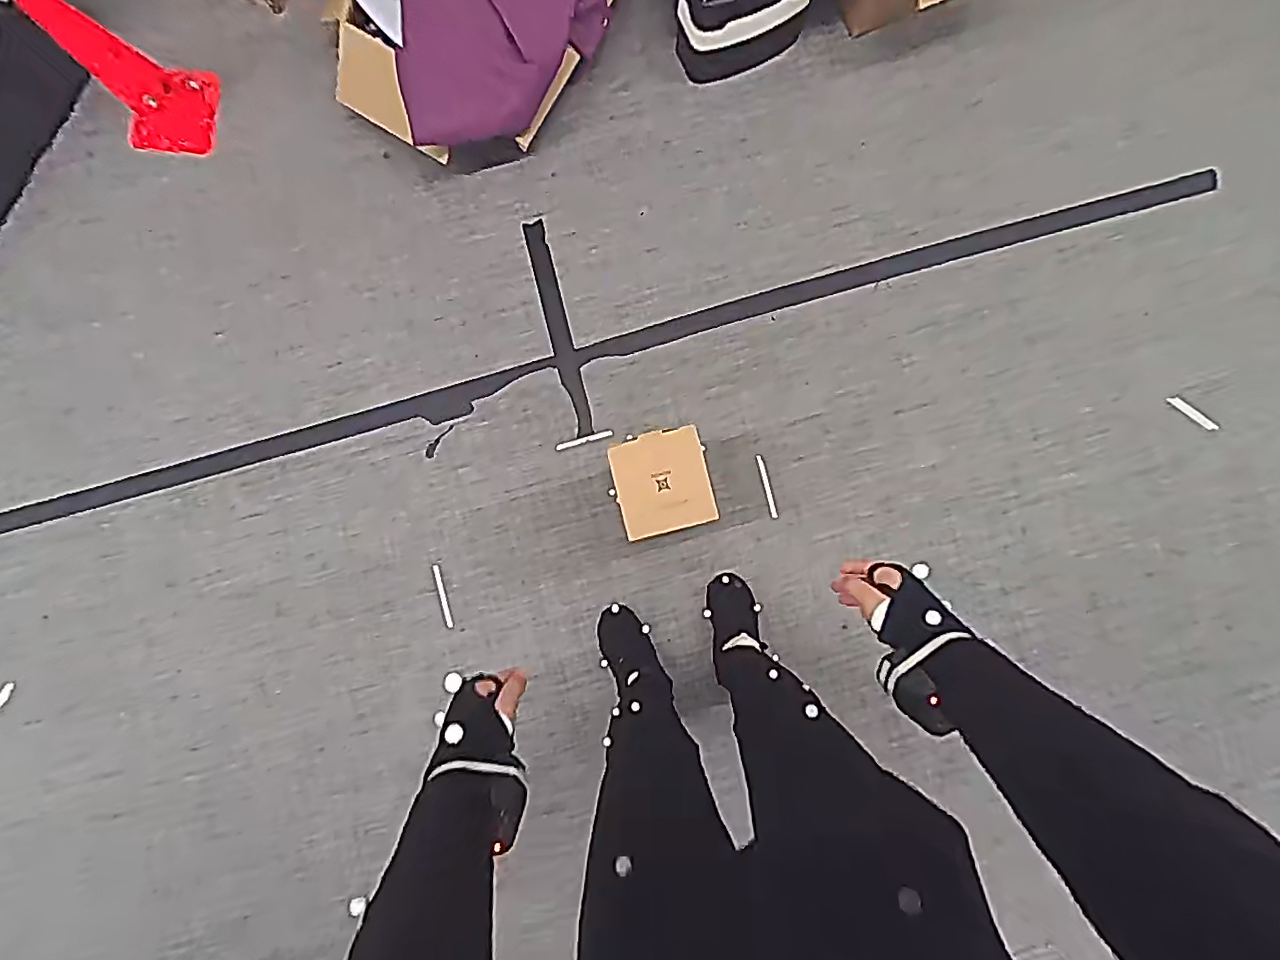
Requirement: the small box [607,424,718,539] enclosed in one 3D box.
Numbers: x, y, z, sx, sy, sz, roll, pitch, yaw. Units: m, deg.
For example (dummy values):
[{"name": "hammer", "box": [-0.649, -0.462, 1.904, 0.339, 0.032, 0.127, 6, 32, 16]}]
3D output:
[{"name": "small box", "box": [0.039, 0.004, 1.028, 0.168, 0.176, 0.179, -14, 91, 1]}]
